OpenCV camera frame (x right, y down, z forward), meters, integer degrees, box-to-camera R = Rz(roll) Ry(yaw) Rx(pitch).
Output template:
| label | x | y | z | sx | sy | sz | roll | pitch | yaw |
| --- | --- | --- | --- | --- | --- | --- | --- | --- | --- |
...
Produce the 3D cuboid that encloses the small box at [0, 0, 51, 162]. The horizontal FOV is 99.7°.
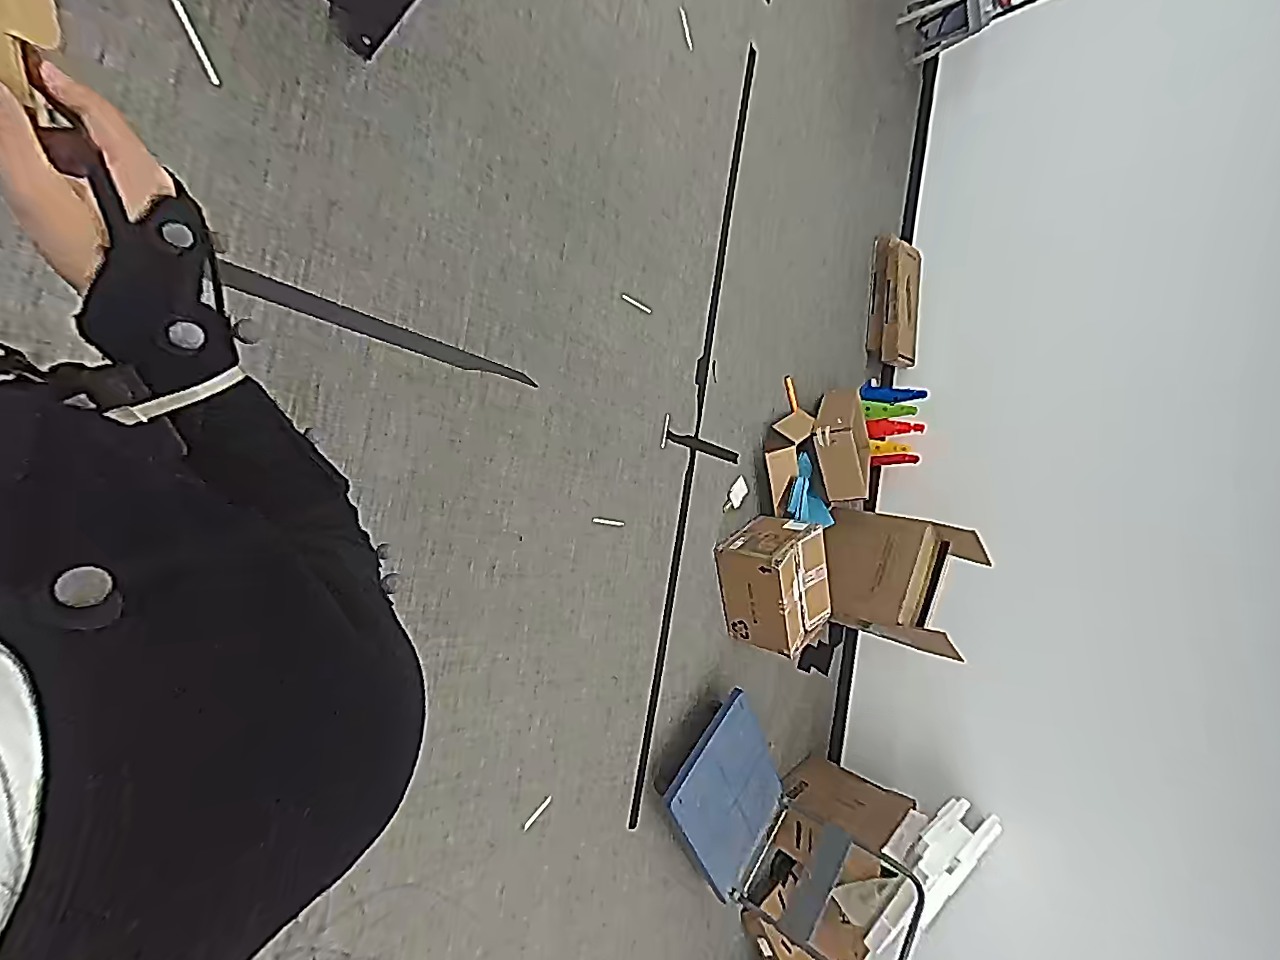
| label | x | y | z | sx | sy | sz | roll | pitch | yaw |
| --- | --- | --- | --- | --- | --- | --- | --- | --- | --- |
| small box | -0.409 | -0.266 | 0.247 | 0.179 | 0.176 | 0.168 | -10 | 108 | -42 |
